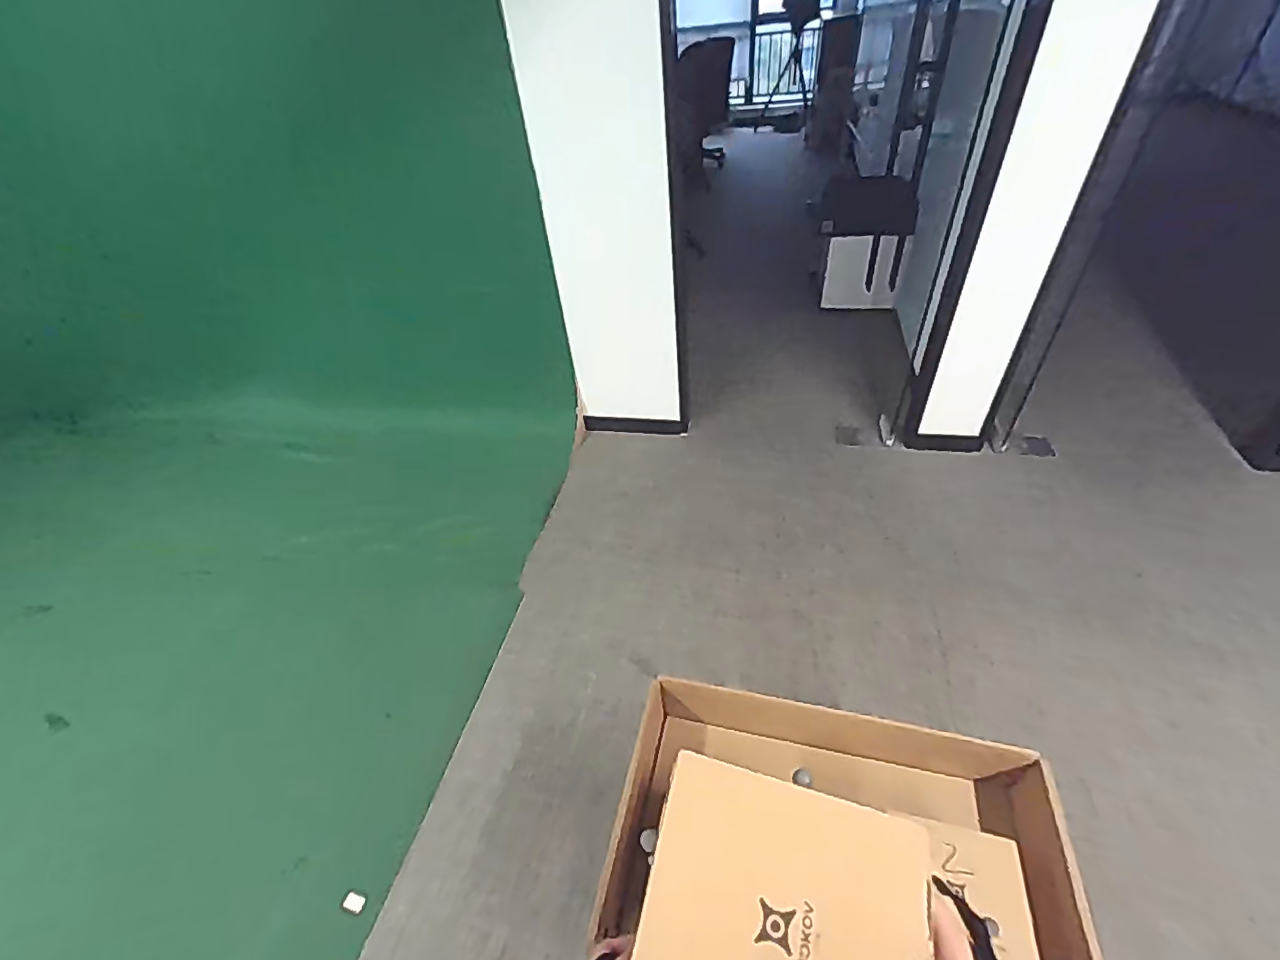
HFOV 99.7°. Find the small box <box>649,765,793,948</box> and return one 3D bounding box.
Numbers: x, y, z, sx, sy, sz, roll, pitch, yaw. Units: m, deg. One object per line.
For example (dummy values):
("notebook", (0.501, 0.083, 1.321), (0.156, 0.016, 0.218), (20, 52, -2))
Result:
("small box", (0.124, 0.558, 0.802), (0.179, 0.176, 0.168), (8, 45, 15))
